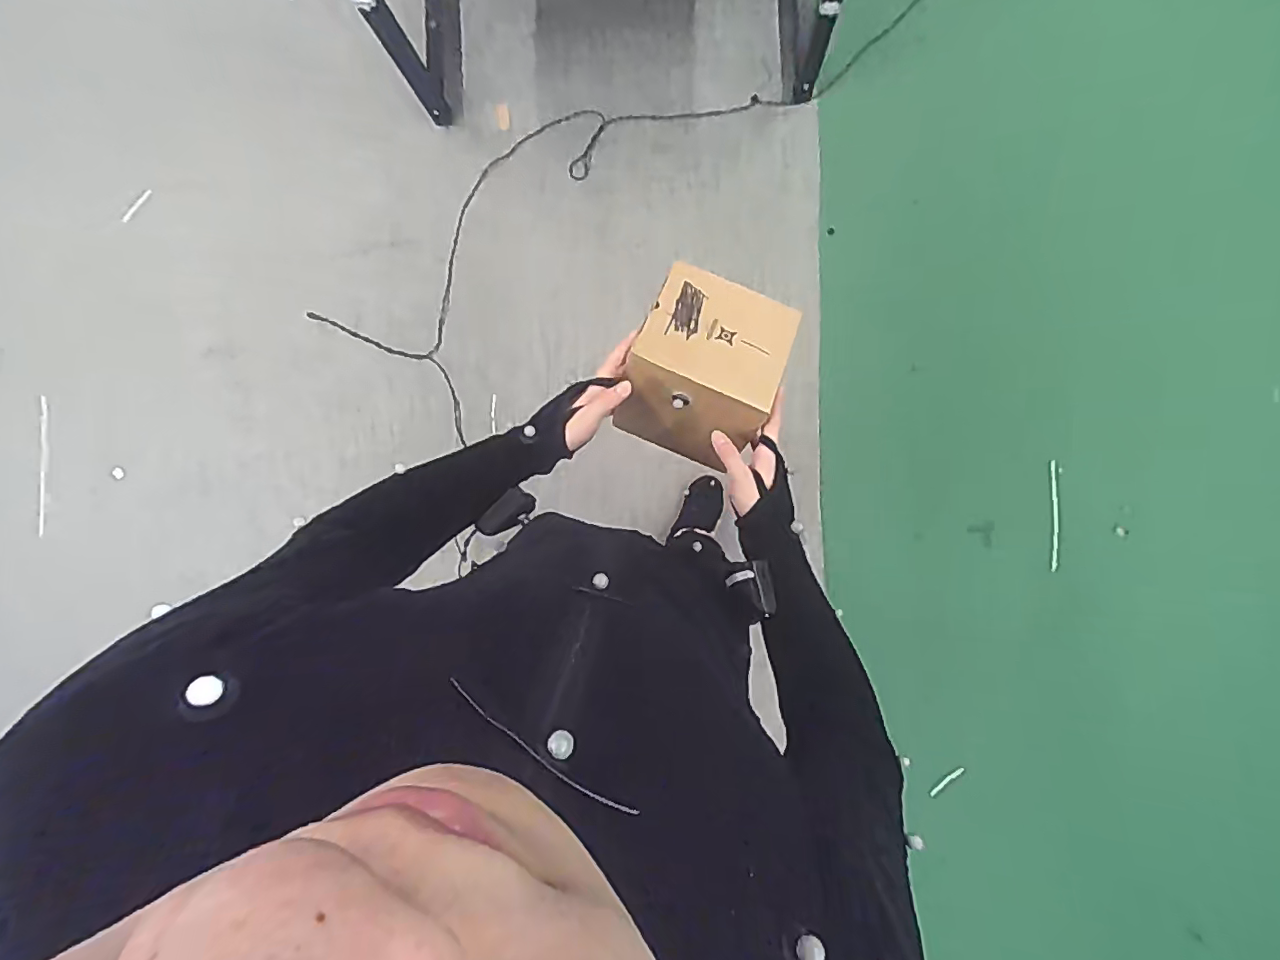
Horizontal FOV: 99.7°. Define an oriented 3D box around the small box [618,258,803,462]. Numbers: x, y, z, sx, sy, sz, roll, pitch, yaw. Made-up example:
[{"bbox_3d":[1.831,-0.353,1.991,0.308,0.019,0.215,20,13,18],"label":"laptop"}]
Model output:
[{"bbox_3d":[0.083,-0.148,0.713,0.179,0.176,0.168,23,64,0],"label":"small box"}]
